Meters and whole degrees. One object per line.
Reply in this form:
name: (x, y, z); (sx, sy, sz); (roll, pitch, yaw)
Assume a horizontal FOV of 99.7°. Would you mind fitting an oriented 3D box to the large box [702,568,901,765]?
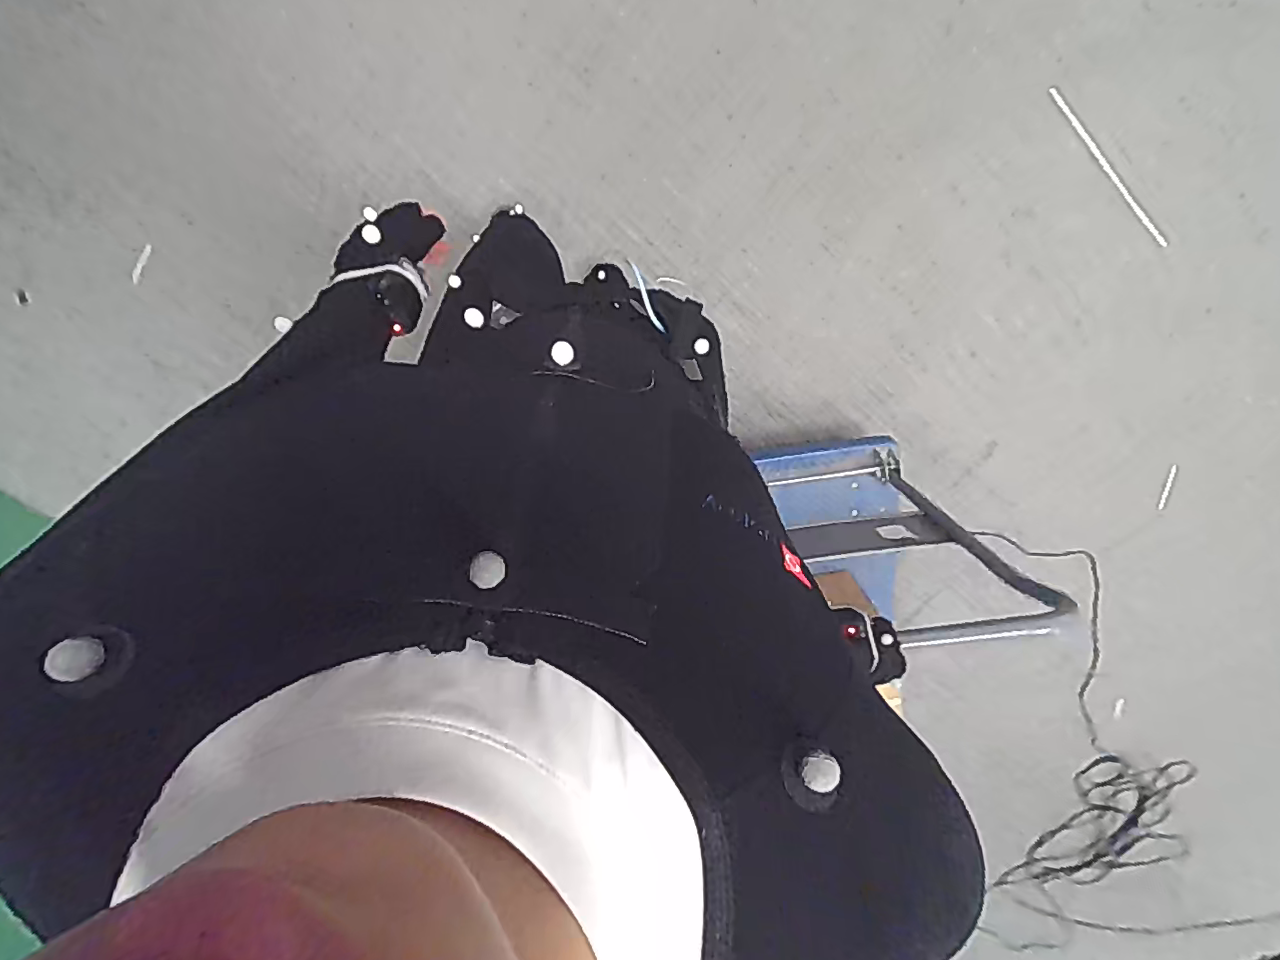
large box: (0.400, 0.467, 1.397); (0.408, 0.320, 0.320); (-12, 114, 3)
